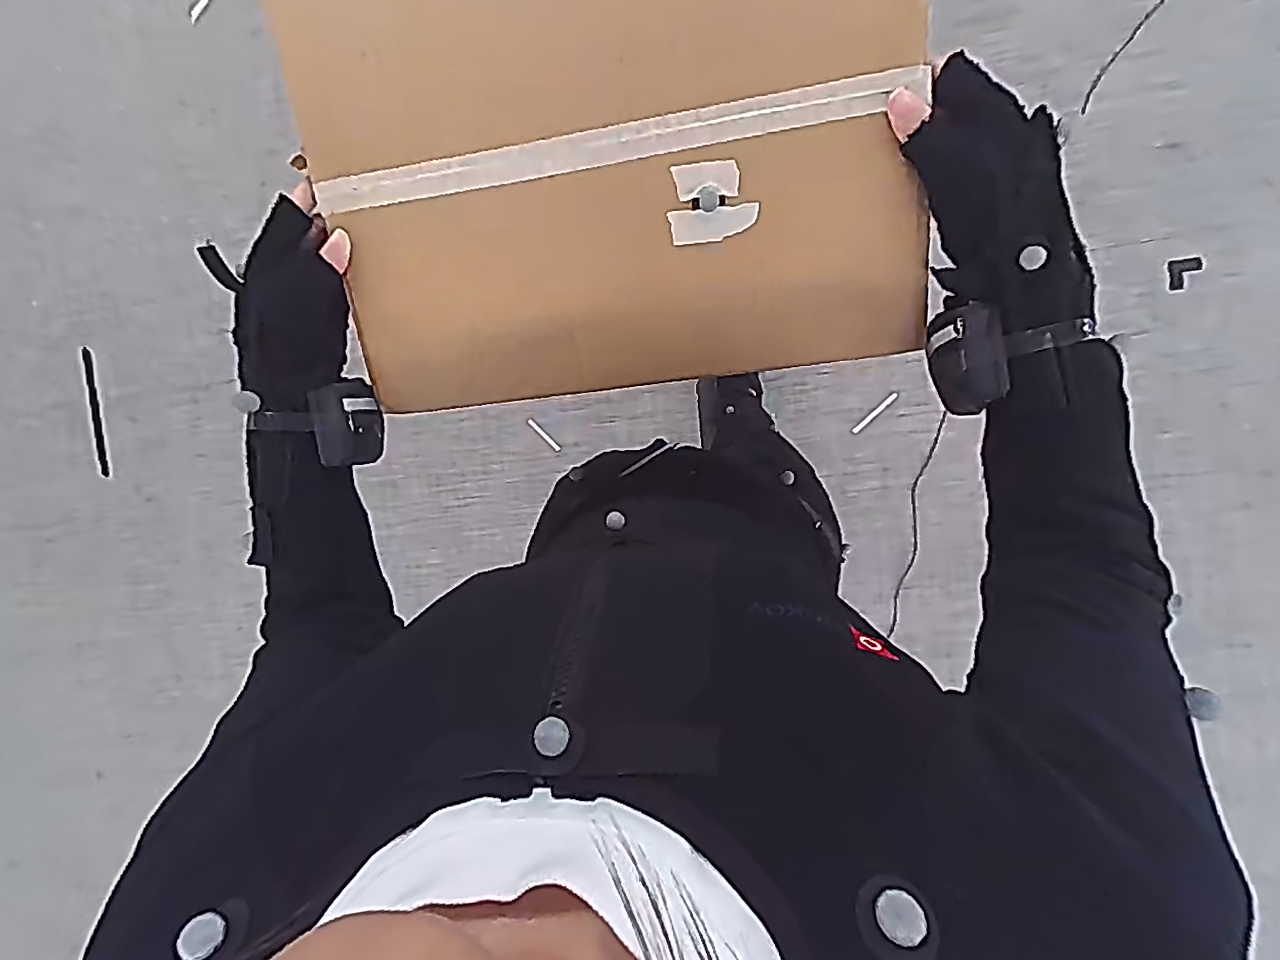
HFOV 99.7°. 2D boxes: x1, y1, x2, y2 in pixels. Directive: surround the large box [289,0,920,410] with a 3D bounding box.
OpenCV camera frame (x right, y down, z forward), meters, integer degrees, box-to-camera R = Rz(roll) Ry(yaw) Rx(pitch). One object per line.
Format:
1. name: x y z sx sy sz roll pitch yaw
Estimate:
1. large box: -0.008 -0.268 0.509 0.408 0.320 0.320 -7 107 7
